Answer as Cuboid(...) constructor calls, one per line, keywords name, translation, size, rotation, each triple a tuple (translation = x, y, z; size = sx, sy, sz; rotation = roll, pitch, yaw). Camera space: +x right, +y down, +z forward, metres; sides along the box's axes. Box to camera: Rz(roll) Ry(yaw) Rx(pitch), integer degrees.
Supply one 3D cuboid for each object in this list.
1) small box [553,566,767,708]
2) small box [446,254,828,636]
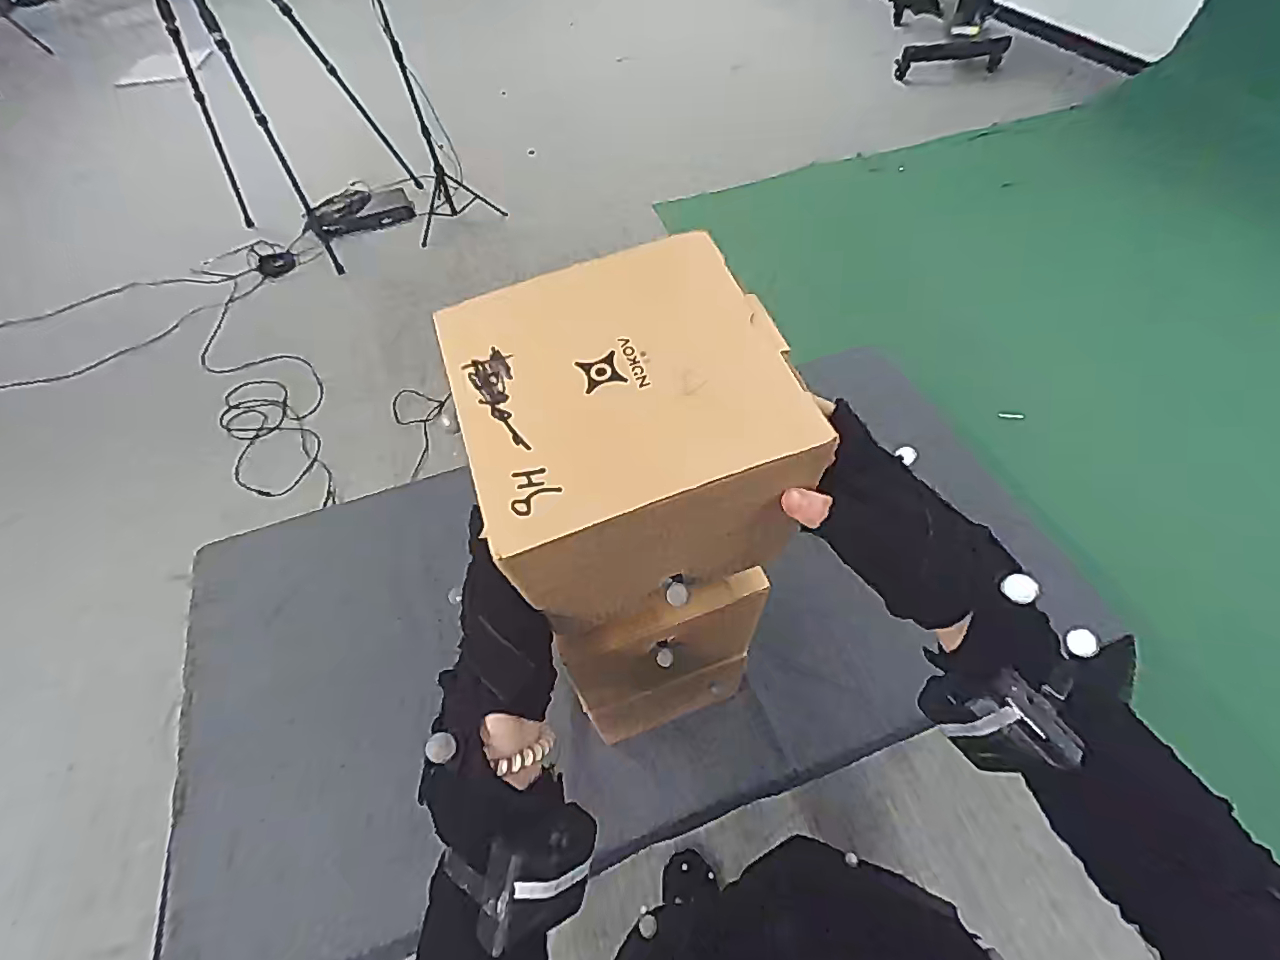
Cuboid(name="small box", translation=(0.000, 0.100, 0.531), size=(0.179, 0.176, 0.168), rotation=(-19, 56, -9))
Cuboid(name="small box", translation=(-0.008, -0.014, 0.368), size=(0.179, 0.176, 0.168), rotation=(-18, 61, -7))
